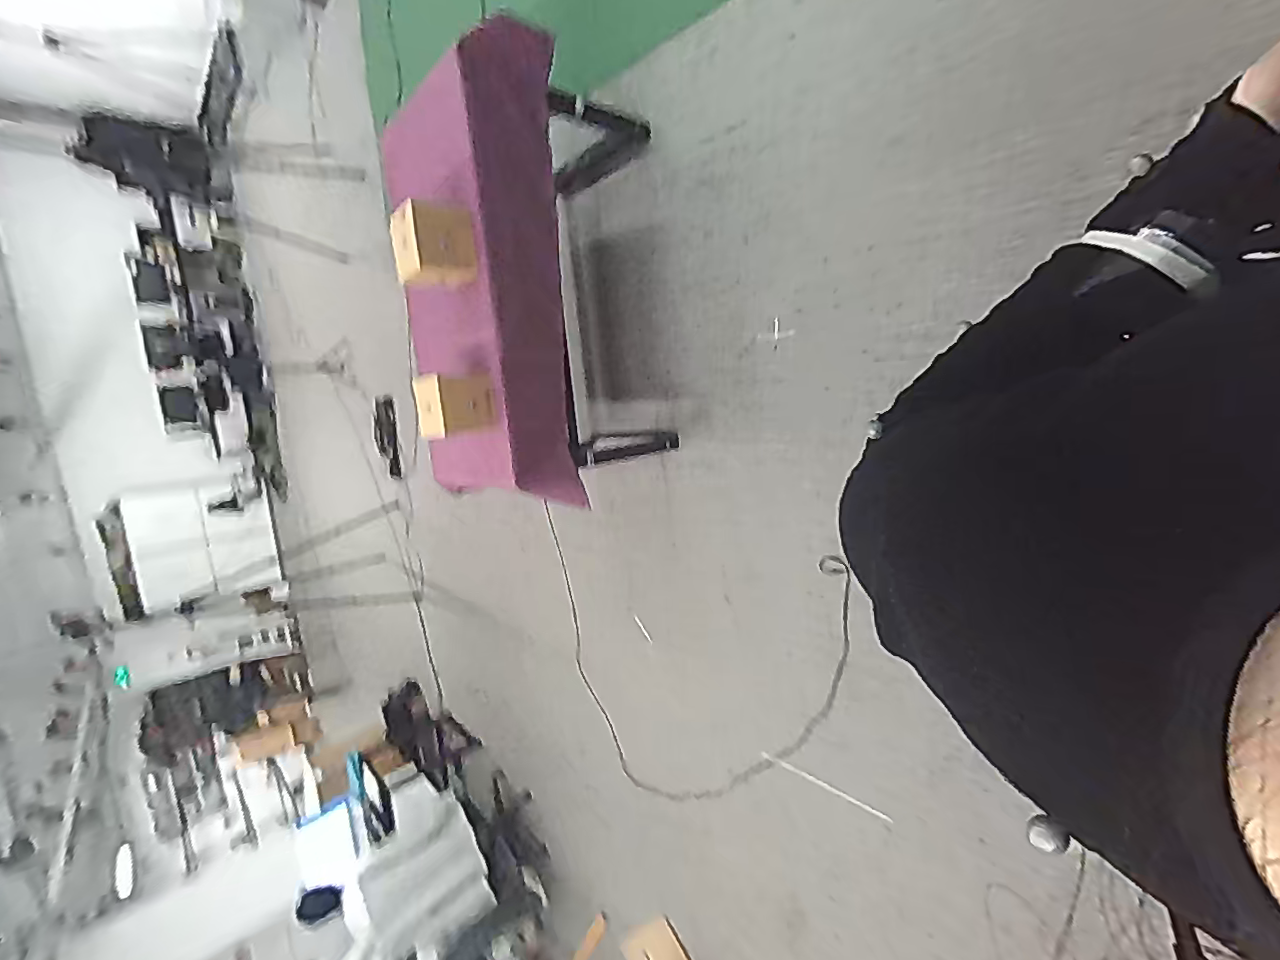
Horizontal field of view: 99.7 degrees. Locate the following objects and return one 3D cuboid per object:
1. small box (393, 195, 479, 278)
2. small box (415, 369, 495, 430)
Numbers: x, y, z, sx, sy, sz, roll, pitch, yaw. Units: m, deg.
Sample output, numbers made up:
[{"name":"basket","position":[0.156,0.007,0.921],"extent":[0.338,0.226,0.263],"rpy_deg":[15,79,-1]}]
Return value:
[{"name":"small box","position":[-0.574,-0.680,1.533],"extent":[0.168,0.176,0.179],"rpy_deg":[3,102,47]},{"name":"small box","position":[-0.542,-0.240,1.604],"extent":[0.179,0.176,0.168],"rpy_deg":[4,102,47]}]
